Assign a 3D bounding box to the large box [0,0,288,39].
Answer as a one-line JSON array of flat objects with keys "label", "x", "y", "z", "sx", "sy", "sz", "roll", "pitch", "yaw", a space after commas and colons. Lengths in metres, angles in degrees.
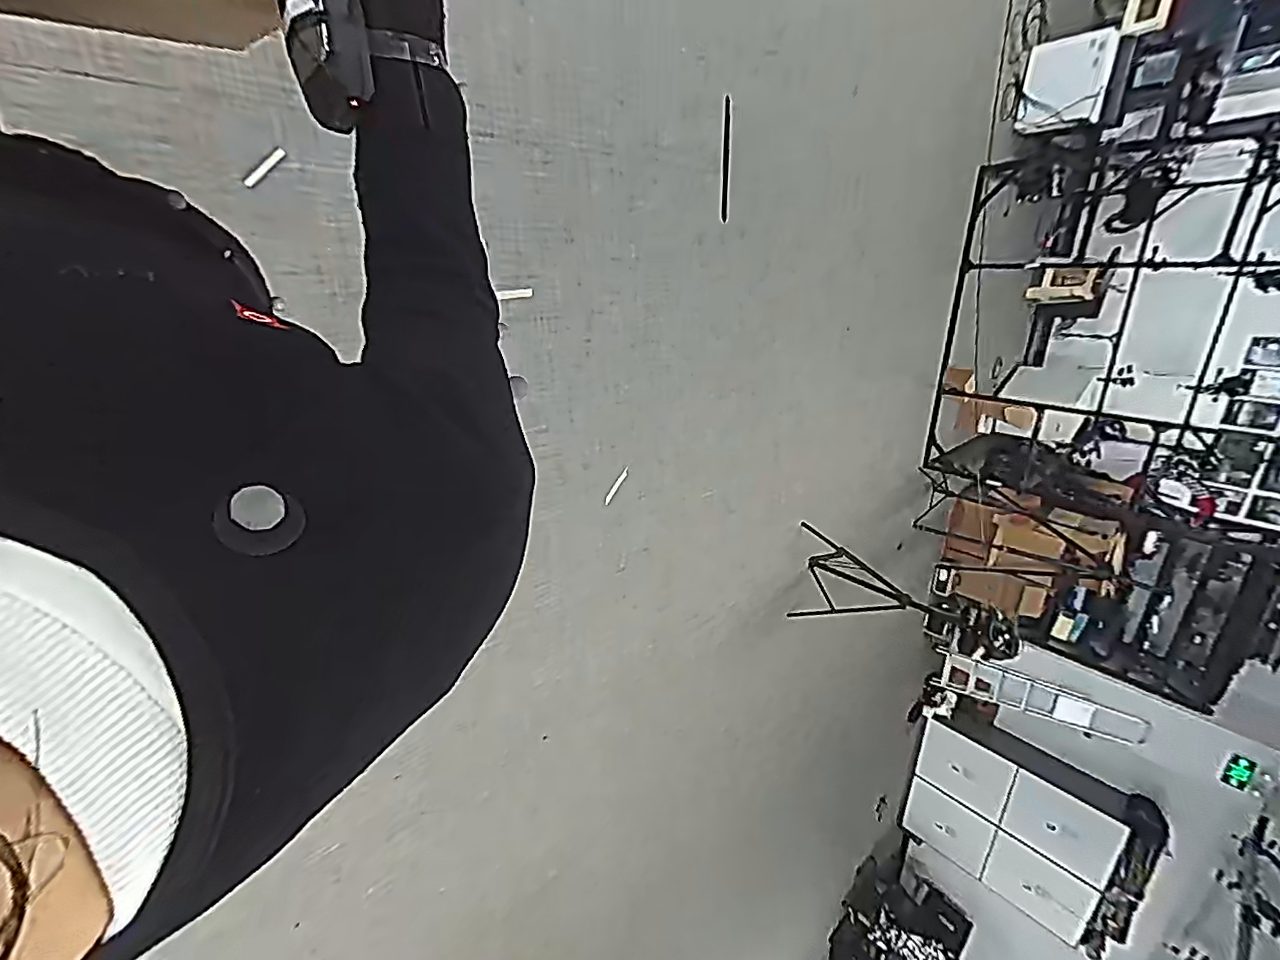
[{"label": "large box", "x": -0.436, "y": -0.438, "z": 0.239, "sx": 0.408, "sy": 0.320, "sz": 0.320, "roll": -21, "pitch": 129, "yaw": -36}]
